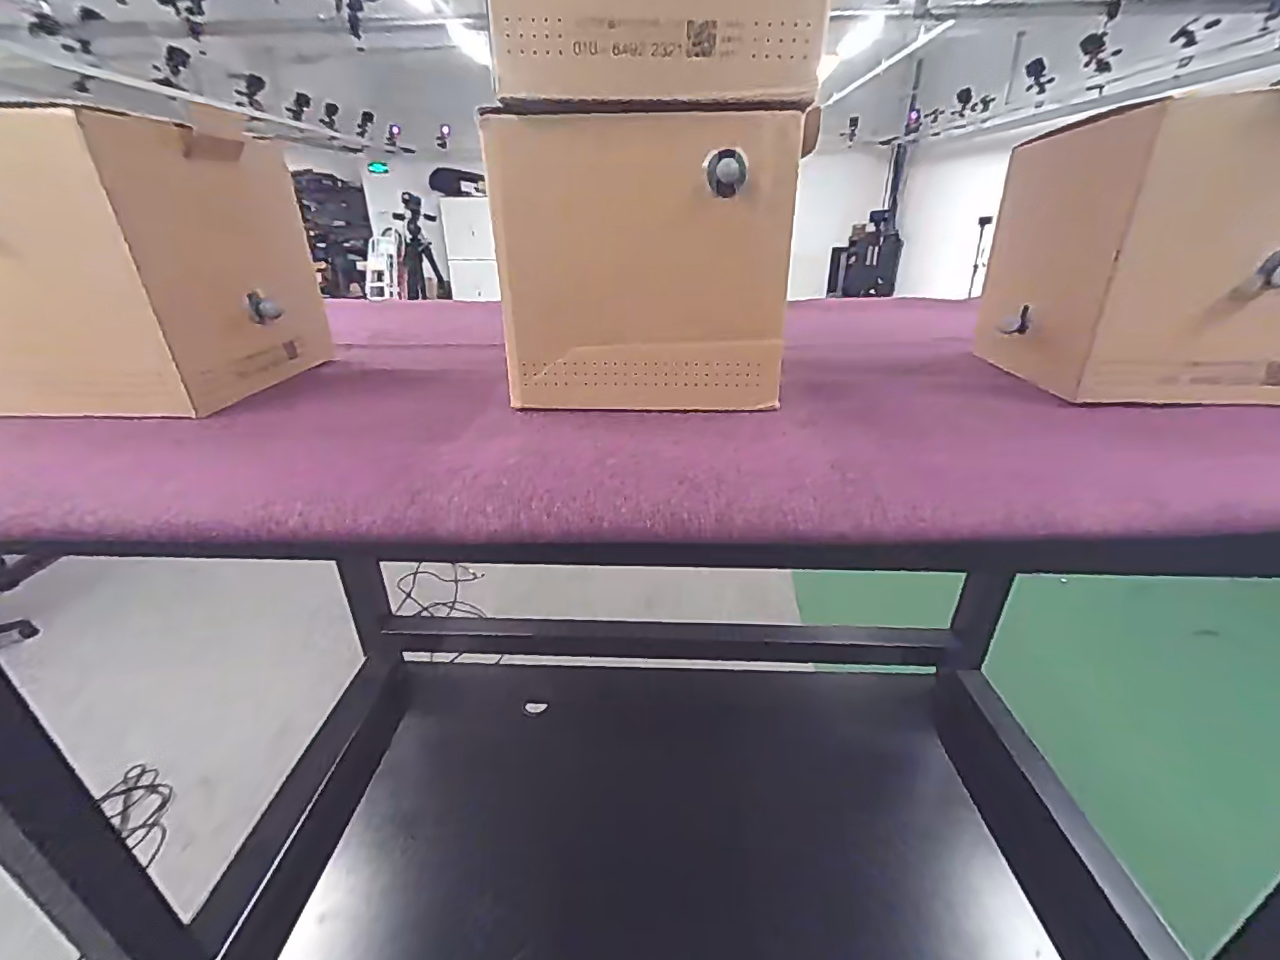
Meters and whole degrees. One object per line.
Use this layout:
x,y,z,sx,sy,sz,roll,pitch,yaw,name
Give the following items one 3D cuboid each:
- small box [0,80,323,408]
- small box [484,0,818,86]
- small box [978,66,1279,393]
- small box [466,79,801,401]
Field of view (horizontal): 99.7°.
-0.362,-0.153,0.371,0.179,0.176,0.168,1,28,2,small box
0.006,-0.303,0.309,0.168,0.176,0.179,1,24,-1,small box
0.362,-0.160,0.365,0.168,0.176,0.179,2,25,9,small box
0.001,-0.156,0.378,0.179,0.176,0.168,1,25,2,small box
